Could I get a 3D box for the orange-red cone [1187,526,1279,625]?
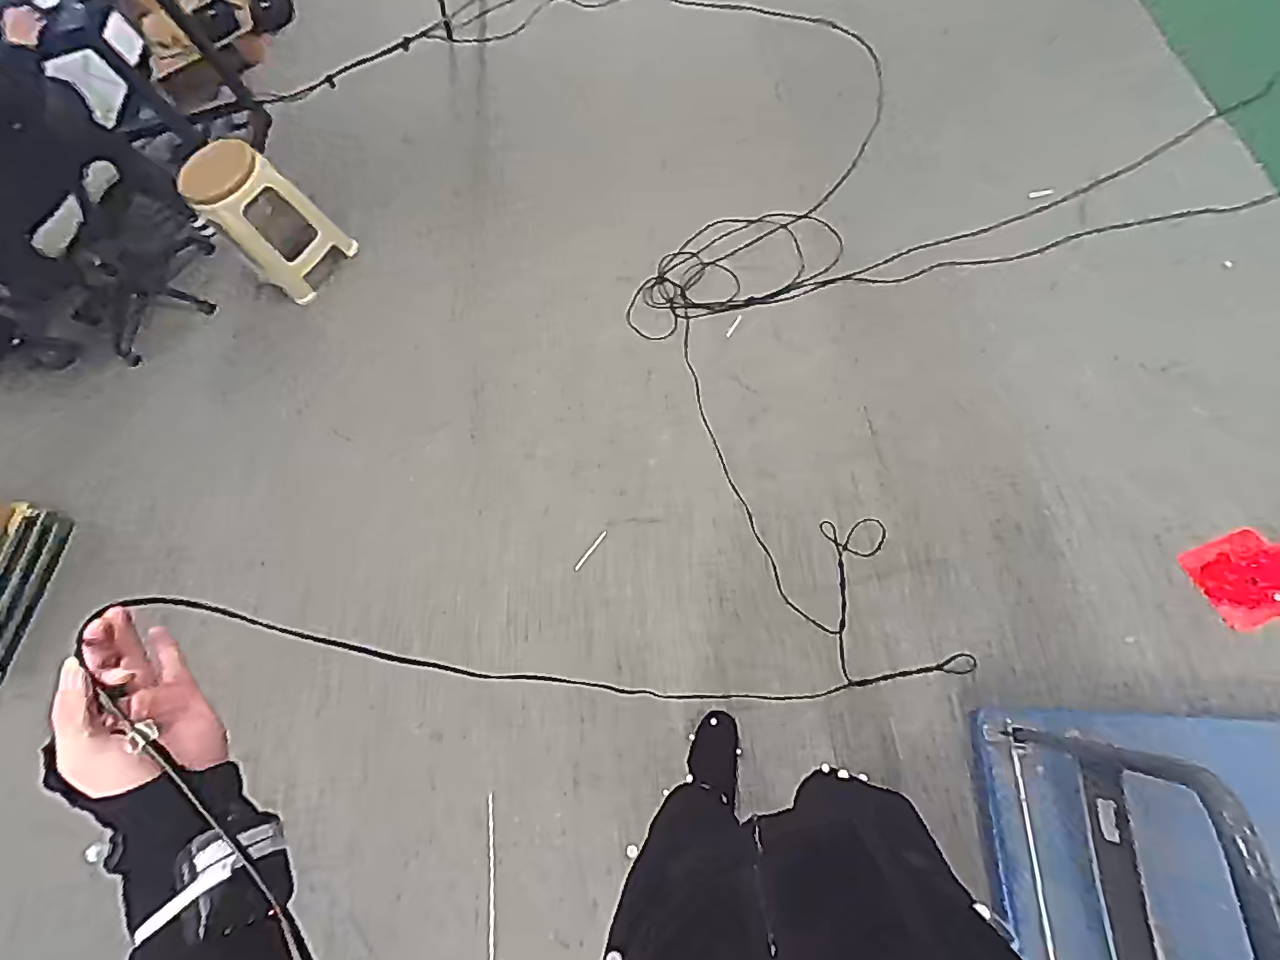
[{"bbox_3d":[1.418,0.162,1.129,0.198,0.360,0.199,-22,65,2],"label":"orange-red cone"}]
